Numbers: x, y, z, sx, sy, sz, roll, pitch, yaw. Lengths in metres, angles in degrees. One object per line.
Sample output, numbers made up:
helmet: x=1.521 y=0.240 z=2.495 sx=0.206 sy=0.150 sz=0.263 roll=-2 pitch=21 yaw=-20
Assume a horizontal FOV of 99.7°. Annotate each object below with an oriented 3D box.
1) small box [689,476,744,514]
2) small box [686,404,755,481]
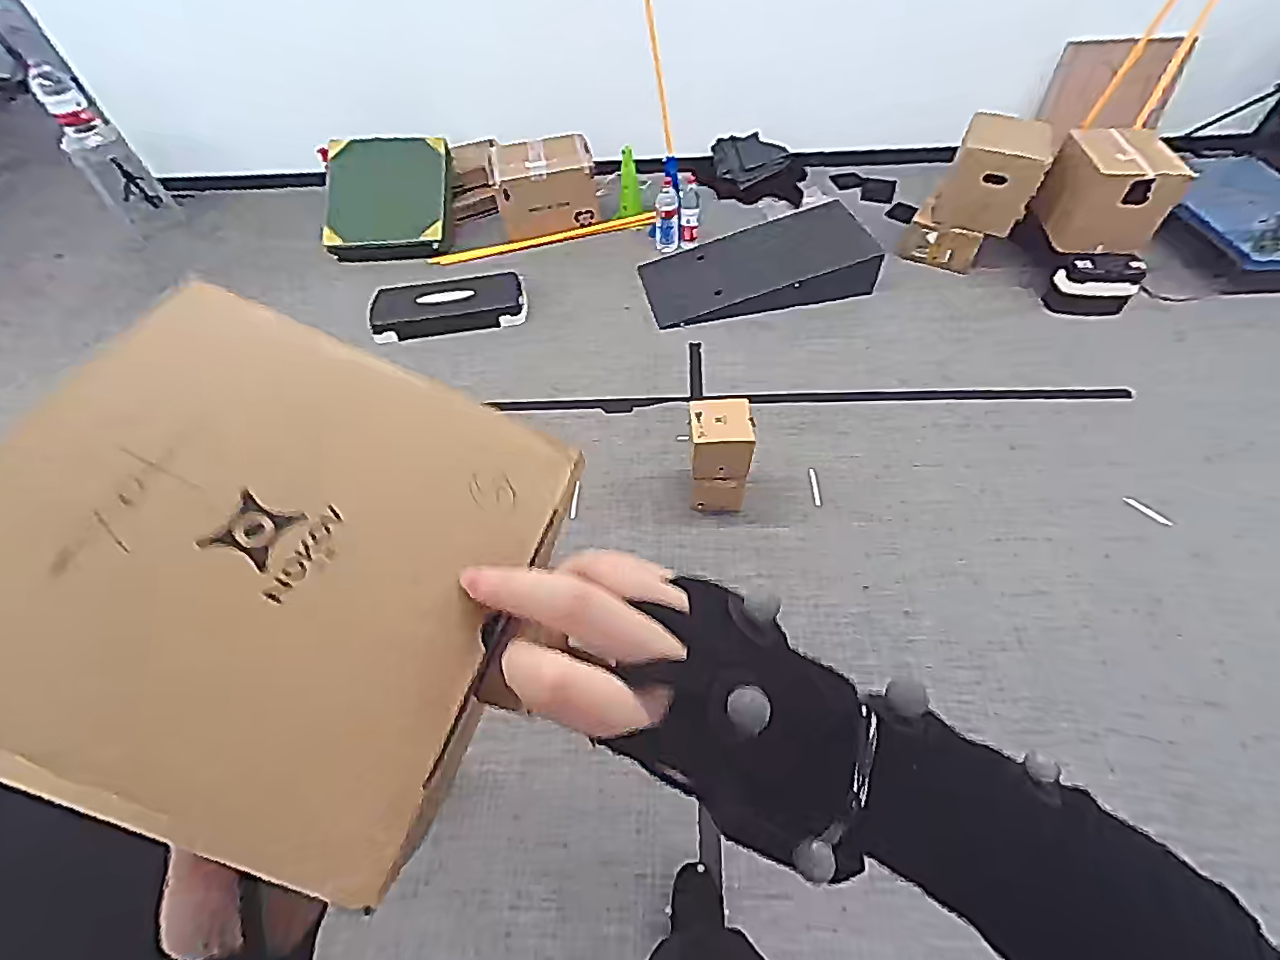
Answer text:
small box: x=0.244 y=-0.006 z=1.741 sx=0.168 sy=0.176 sz=0.179 roll=2 pitch=52 yaw=4
small box: x=0.233 y=-0.108 z=1.613 sx=0.179 sy=0.176 sz=0.168 roll=-1 pitch=52 yaw=1
